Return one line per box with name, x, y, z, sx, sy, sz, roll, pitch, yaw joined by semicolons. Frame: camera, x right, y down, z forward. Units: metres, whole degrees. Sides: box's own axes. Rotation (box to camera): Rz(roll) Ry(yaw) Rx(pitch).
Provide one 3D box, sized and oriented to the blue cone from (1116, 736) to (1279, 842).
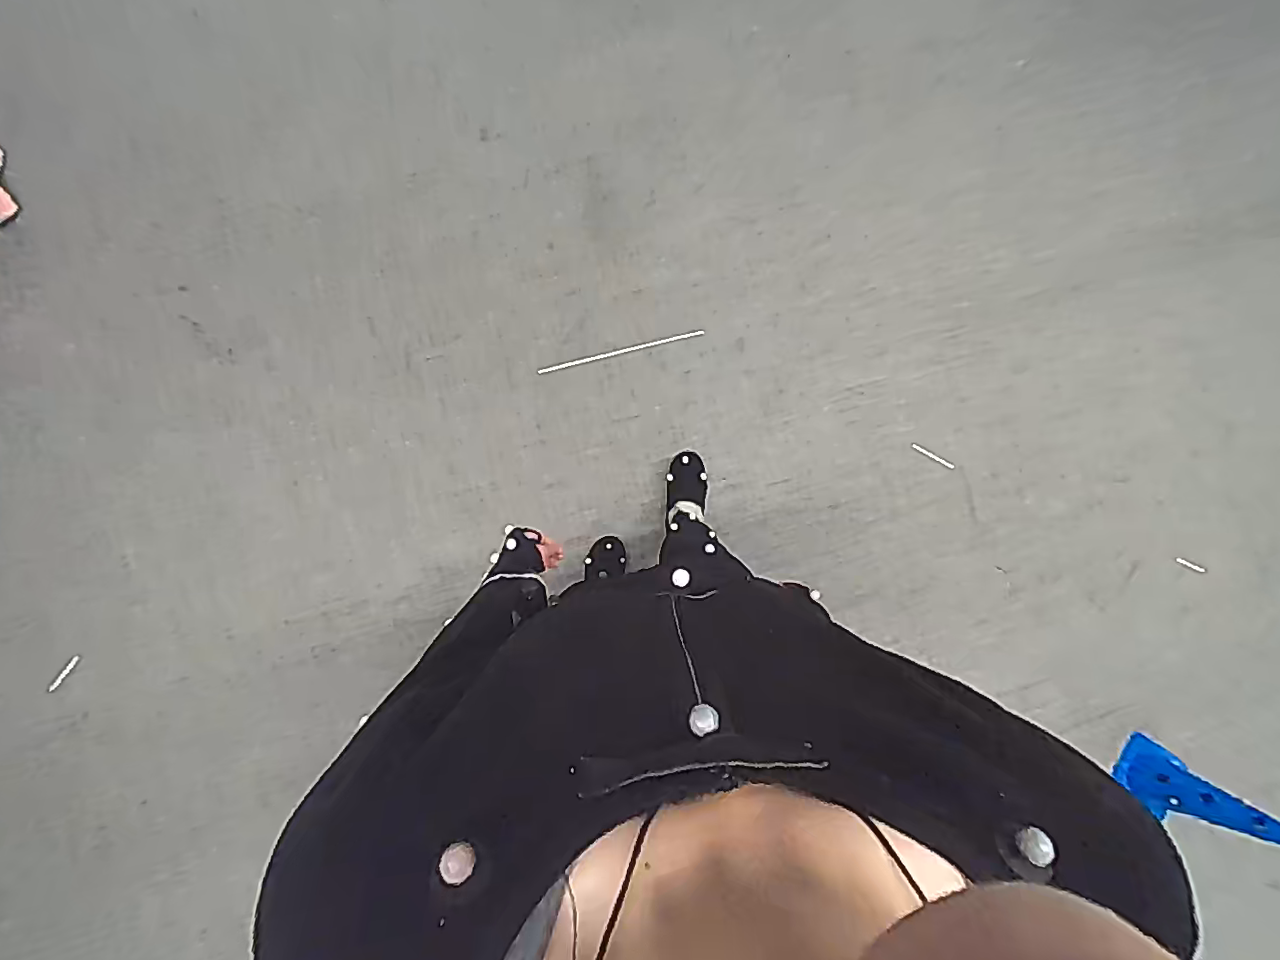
blue cone;1.508;0.848;1.414;0.192;0.380;0.193;33;81;-1
